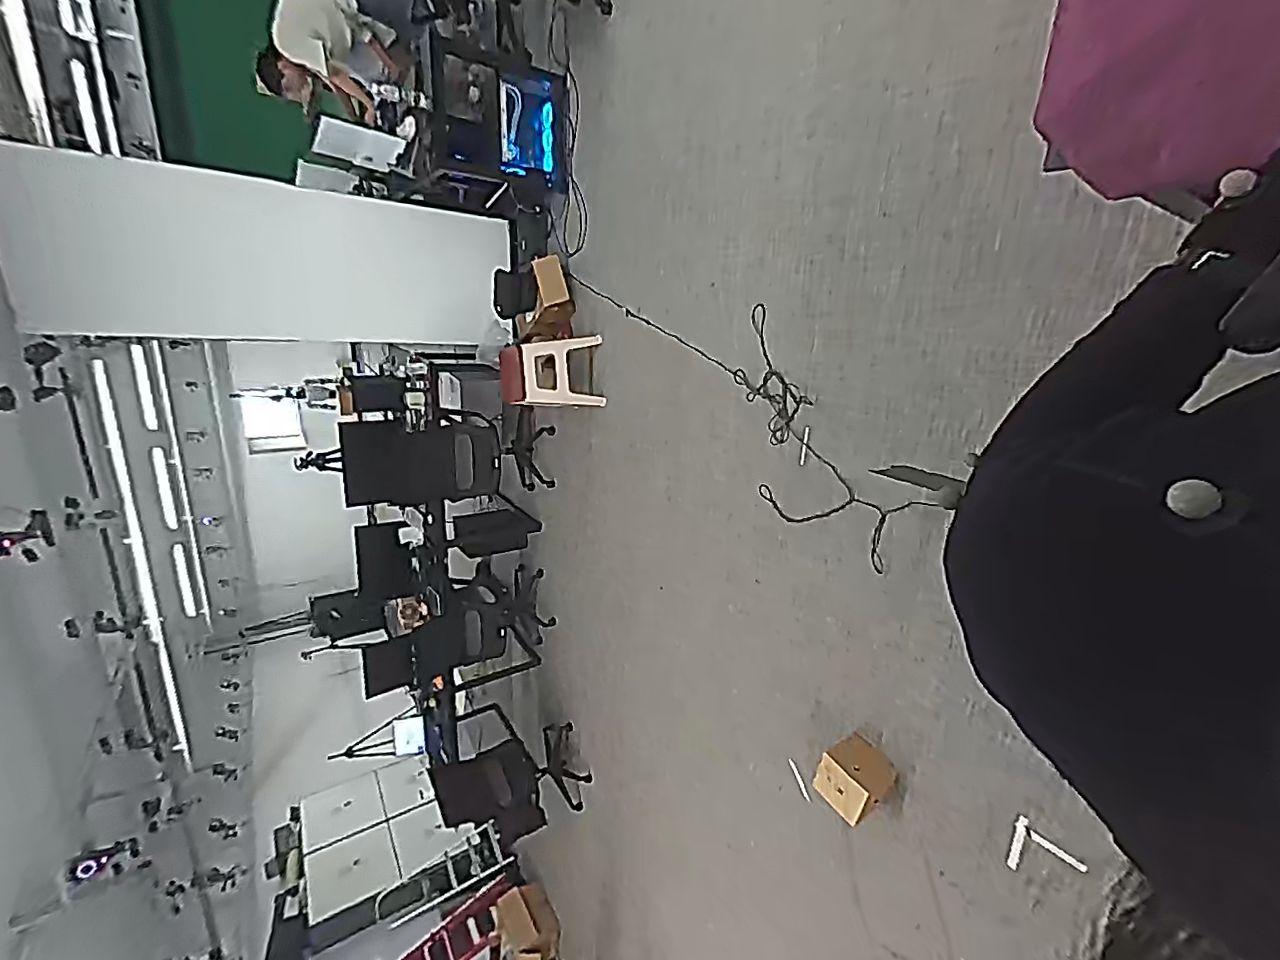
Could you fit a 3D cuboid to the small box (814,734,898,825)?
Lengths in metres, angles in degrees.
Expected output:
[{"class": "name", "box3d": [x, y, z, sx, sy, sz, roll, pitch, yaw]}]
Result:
[{"class": "small box", "box3d": [0.722, 0.991, 1.804, 0.179, 0.176, 0.168, 38, 127, 47]}]
